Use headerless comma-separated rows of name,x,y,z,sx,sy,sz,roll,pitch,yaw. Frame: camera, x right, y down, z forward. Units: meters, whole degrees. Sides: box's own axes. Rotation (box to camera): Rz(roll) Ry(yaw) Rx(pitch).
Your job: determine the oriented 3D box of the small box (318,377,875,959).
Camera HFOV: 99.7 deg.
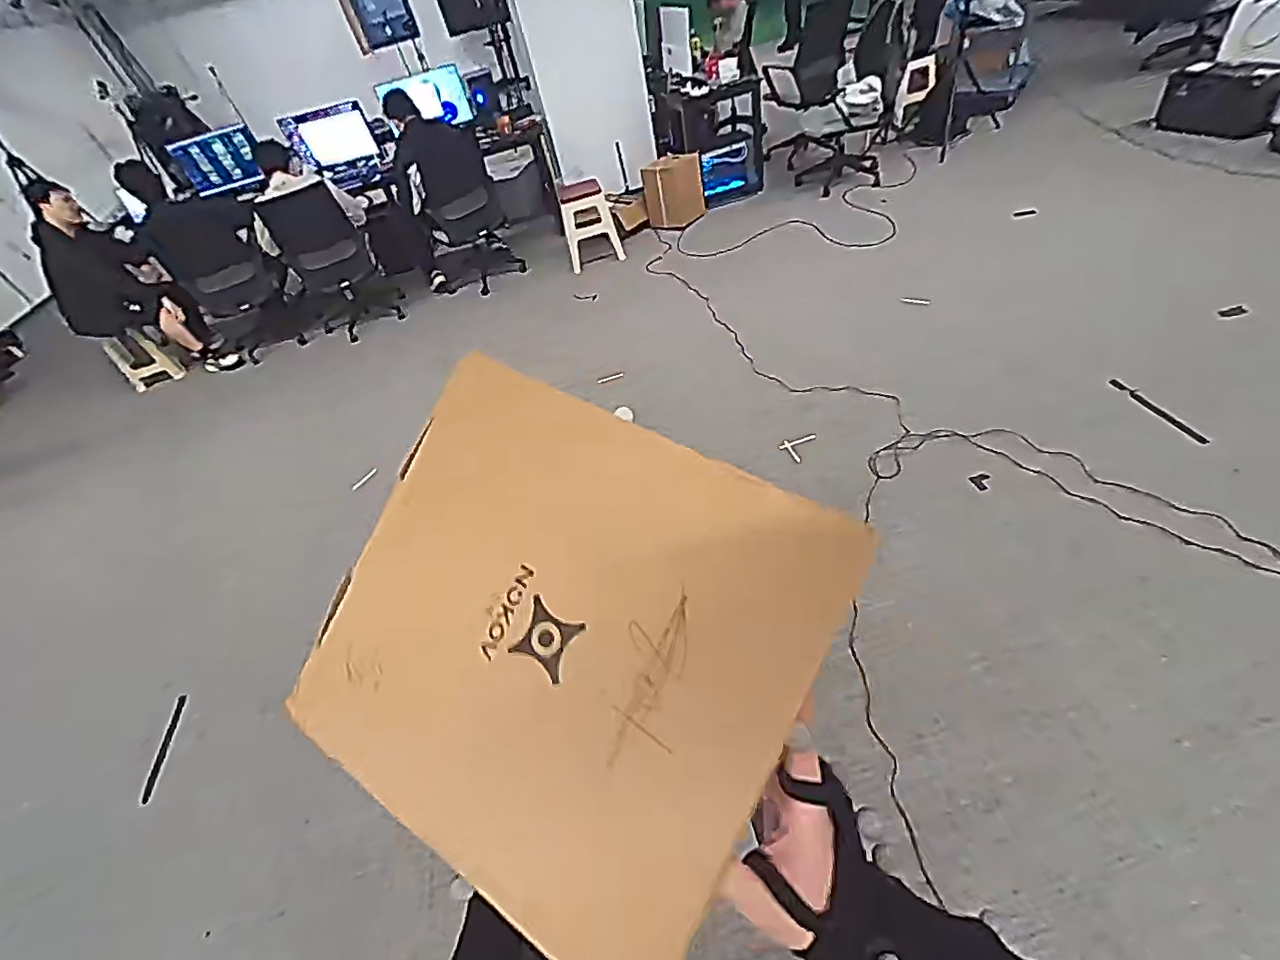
small box,-0.006,0.074,0.277,0.179,0.176,0.168,24,88,20
